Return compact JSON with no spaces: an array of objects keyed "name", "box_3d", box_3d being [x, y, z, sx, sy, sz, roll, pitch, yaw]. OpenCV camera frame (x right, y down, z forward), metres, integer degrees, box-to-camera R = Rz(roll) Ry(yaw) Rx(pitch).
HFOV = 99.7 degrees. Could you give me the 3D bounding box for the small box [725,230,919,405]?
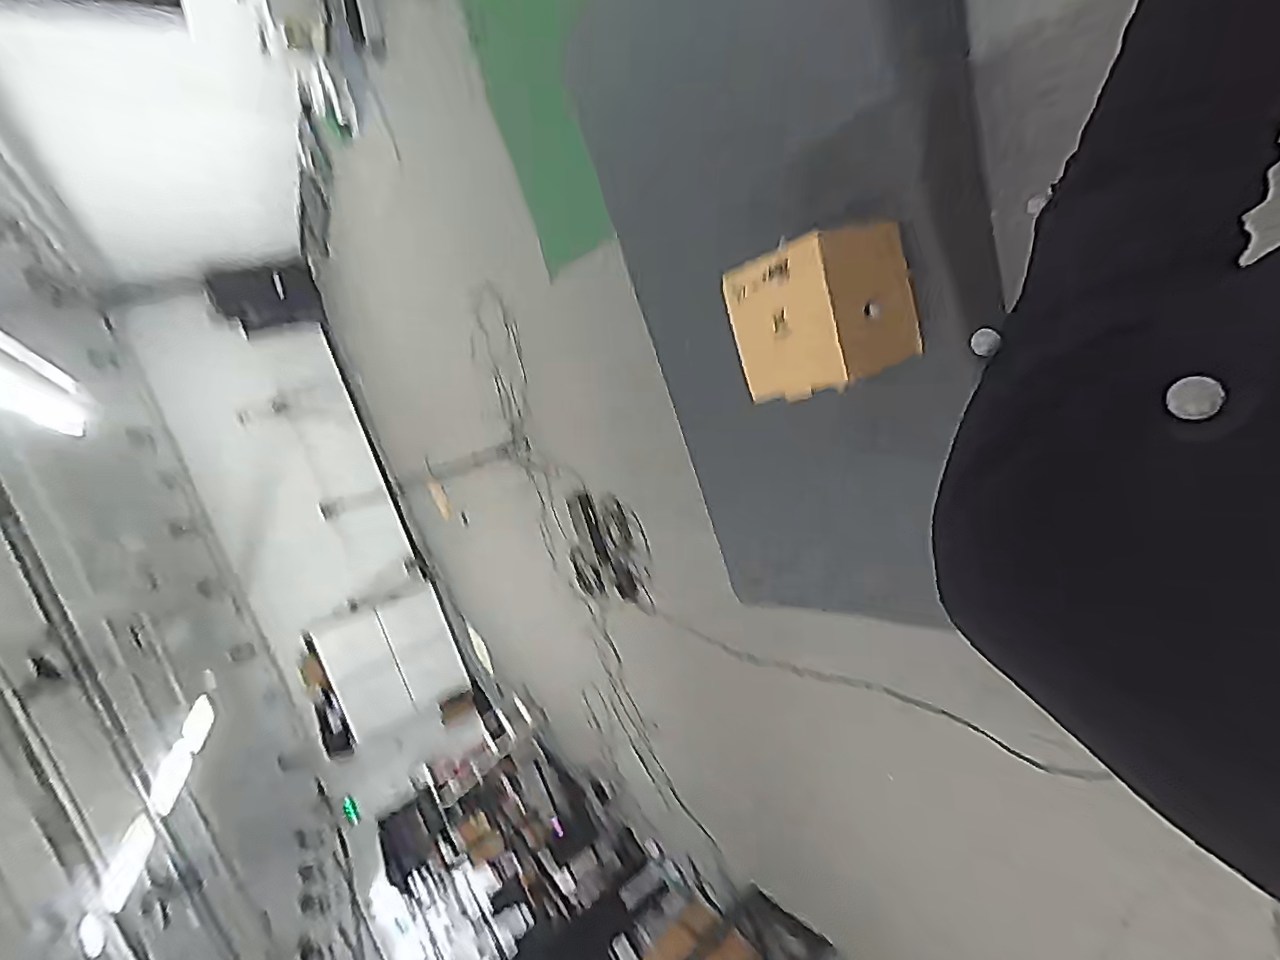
[{"name":"small box","box_3d":[0.251,-0.218,0.742,0.168,0.176,0.179,-3,108,59]}]
